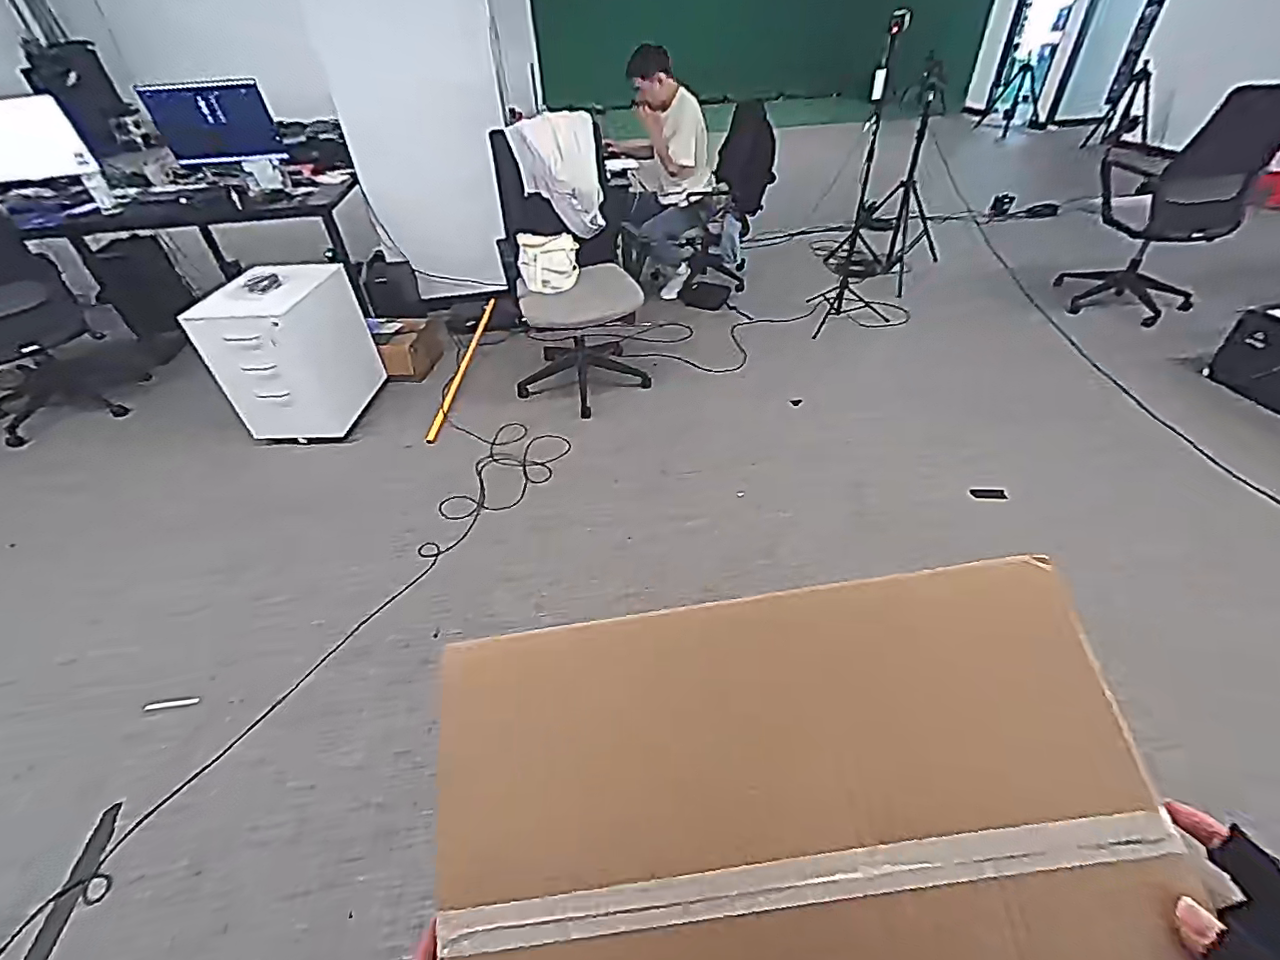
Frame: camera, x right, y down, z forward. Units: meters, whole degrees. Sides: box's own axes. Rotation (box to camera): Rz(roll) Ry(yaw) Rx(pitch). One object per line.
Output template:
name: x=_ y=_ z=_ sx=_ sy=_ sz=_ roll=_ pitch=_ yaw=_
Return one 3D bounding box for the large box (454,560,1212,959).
large box: x=0.102 y=0.285 z=0.442 sx=0.408 sy=0.320 sz=0.320 roll=-10 pitch=67 yaw=2
